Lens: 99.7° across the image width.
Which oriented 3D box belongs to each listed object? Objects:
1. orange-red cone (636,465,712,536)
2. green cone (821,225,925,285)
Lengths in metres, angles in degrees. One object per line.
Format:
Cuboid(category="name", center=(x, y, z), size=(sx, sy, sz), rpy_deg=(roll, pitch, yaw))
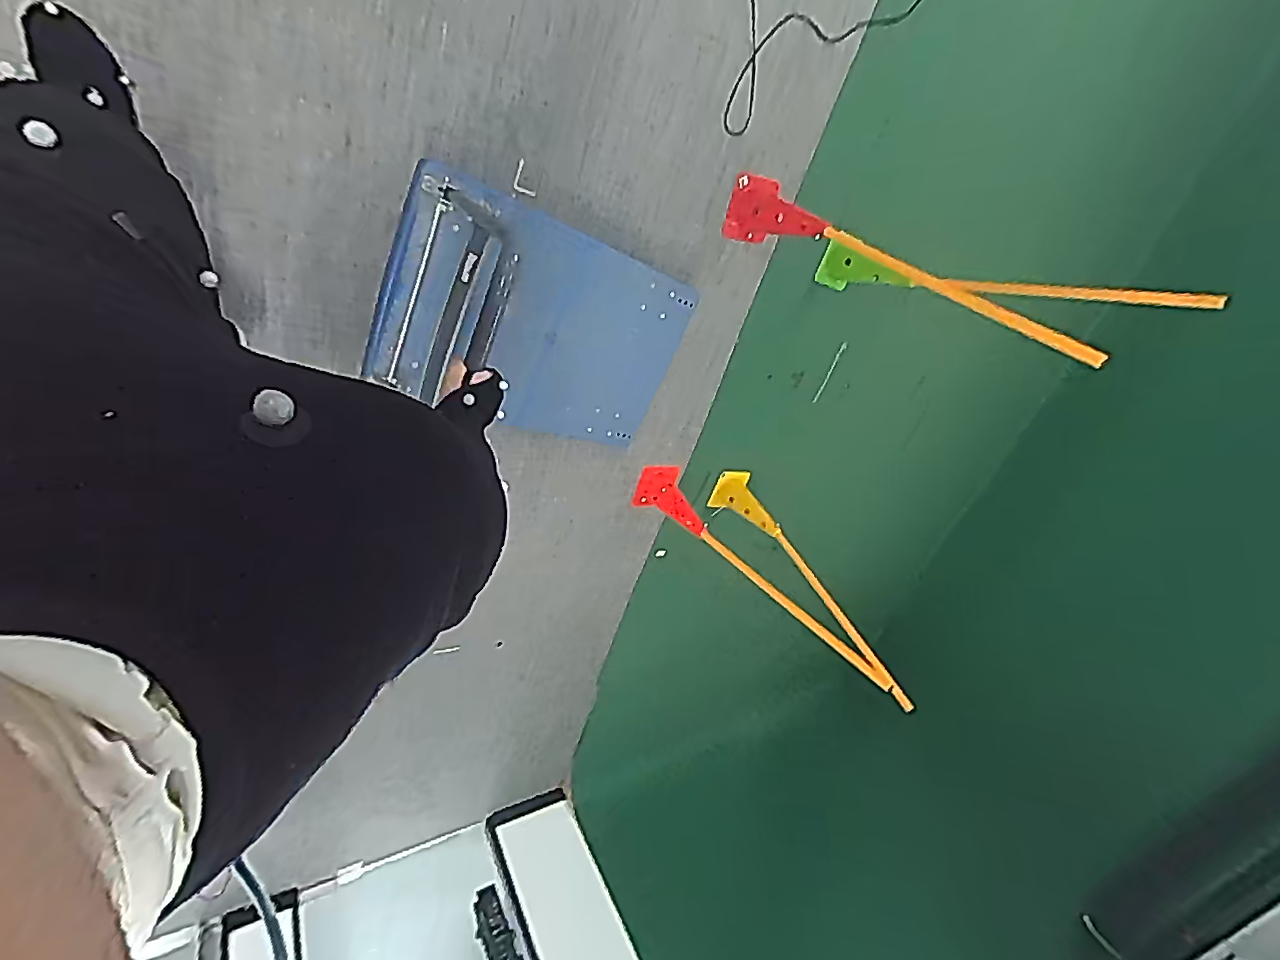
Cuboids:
Cuboid(category="orange-red cone", center=(0.174, 0.110, 2.215), size=(0.199, 0.360, 0.198), rpy_deg=(-1, 123, -38))
Cuboid(category="green cone", center=(0.908, -0.811, 2.049), size=(0.202, 0.368, 0.200), rpy_deg=(0, 121, -37))
